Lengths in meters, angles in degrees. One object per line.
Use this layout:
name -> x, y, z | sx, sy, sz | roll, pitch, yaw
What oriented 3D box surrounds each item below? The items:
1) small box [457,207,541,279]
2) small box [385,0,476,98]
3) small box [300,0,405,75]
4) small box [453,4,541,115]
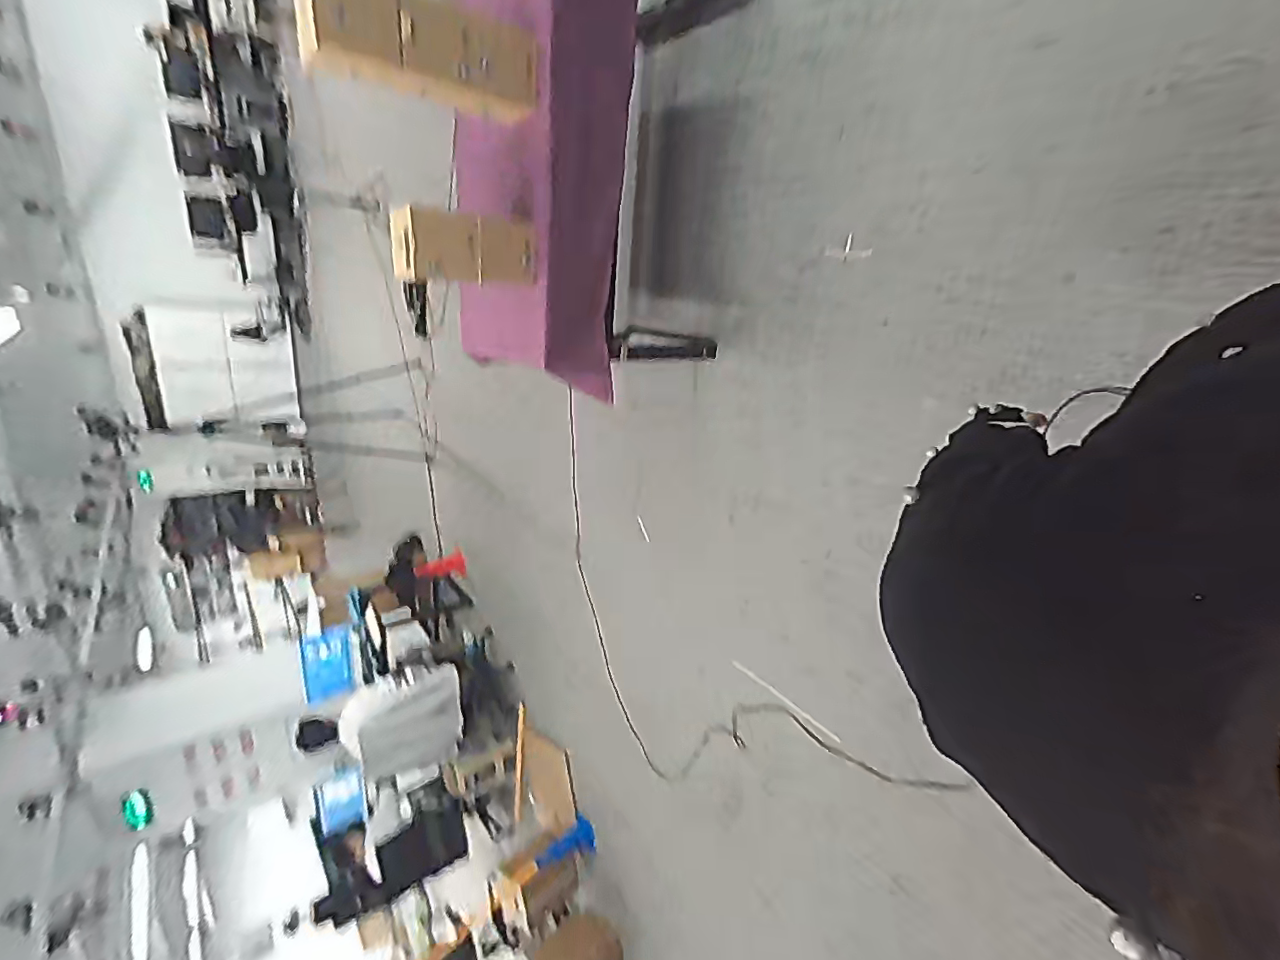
small box -> -0.394, -0.654, 1.505 | 0.179, 0.176, 0.168 | 26, 119, 45
small box -> -0.493, -1.029, 1.269 | 0.179, 0.176, 0.168 | 25, 118, 47
small box -> -0.617, -1.004, 1.163 | 0.168, 0.176, 0.179 | 25, 117, 45
small box -> -0.366, -1.052, 1.370 | 0.179, 0.176, 0.168 | 26, 120, 46
